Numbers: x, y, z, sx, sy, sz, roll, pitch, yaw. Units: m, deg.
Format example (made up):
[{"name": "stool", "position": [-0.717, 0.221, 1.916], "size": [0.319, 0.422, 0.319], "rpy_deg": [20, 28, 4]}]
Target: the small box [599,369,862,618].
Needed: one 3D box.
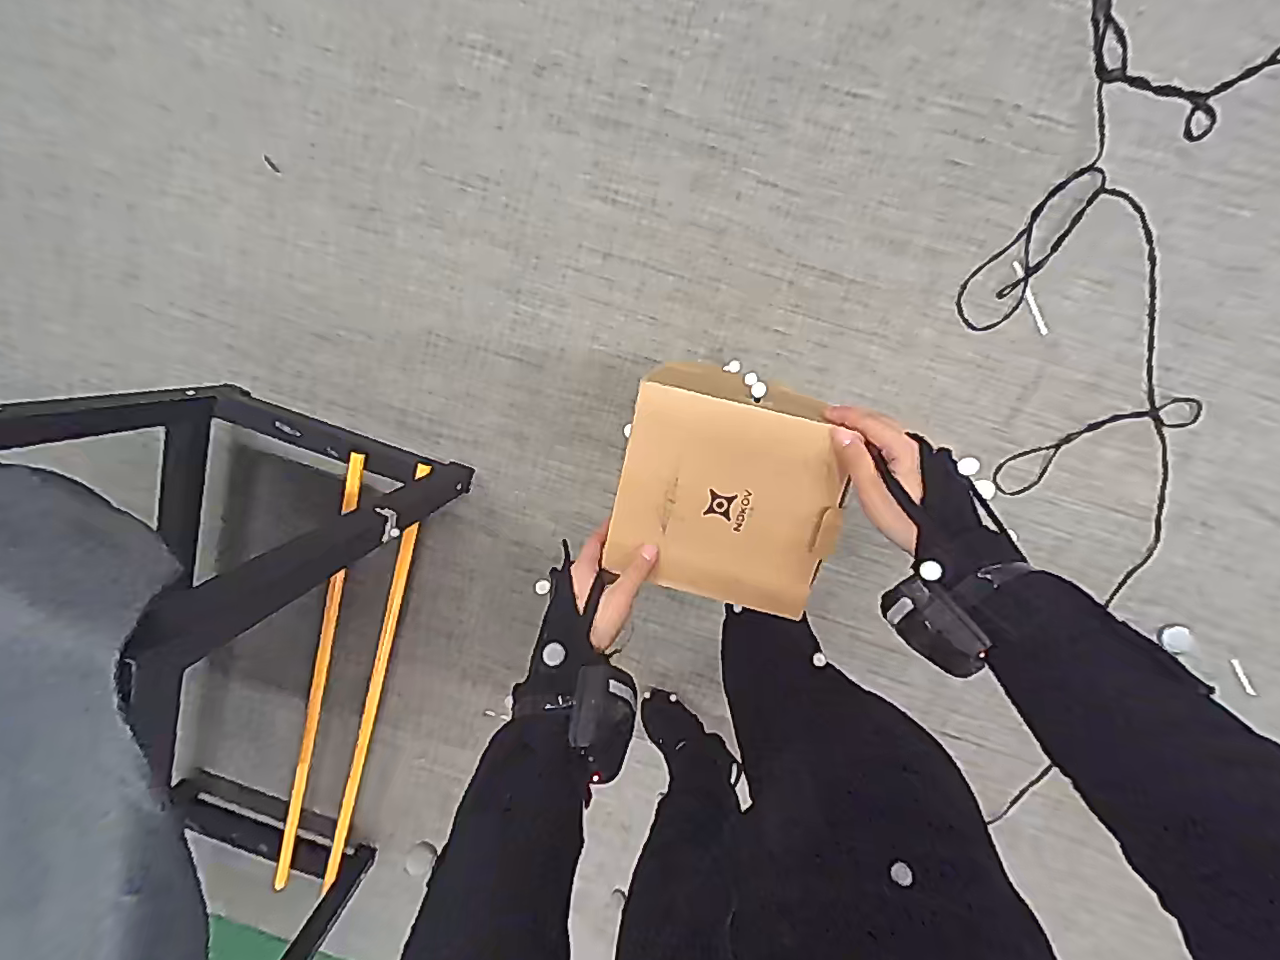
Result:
[{"name": "small box", "position": [0.076, -0.002, 0.505], "size": [0.179, 0.176, 0.168], "rpy_deg": [14, 107, 4]}]
